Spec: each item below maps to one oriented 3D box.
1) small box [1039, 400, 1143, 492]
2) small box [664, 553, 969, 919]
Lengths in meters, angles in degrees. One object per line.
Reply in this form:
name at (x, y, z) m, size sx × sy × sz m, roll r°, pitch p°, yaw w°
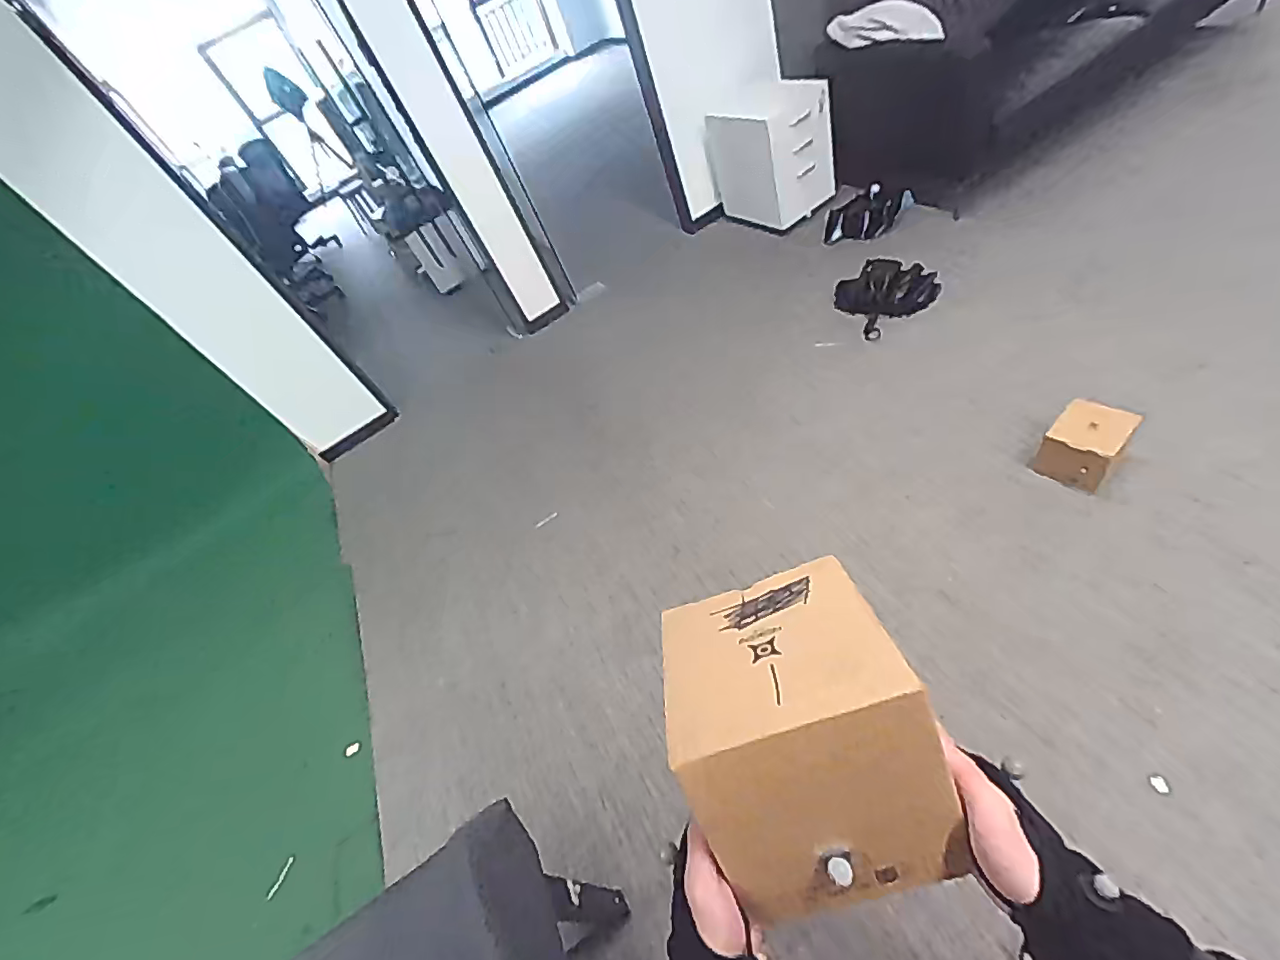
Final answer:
small box at (1.300, -0.096, 1.573) m, size 0.179 × 0.176 × 0.168 m, roll -42°, pitch 48°, yaw -16°
small box at (0.125, 0.192, 0.432) m, size 0.168 × 0.176 × 0.179 m, roll -22°, pitch 19°, yaw 9°
